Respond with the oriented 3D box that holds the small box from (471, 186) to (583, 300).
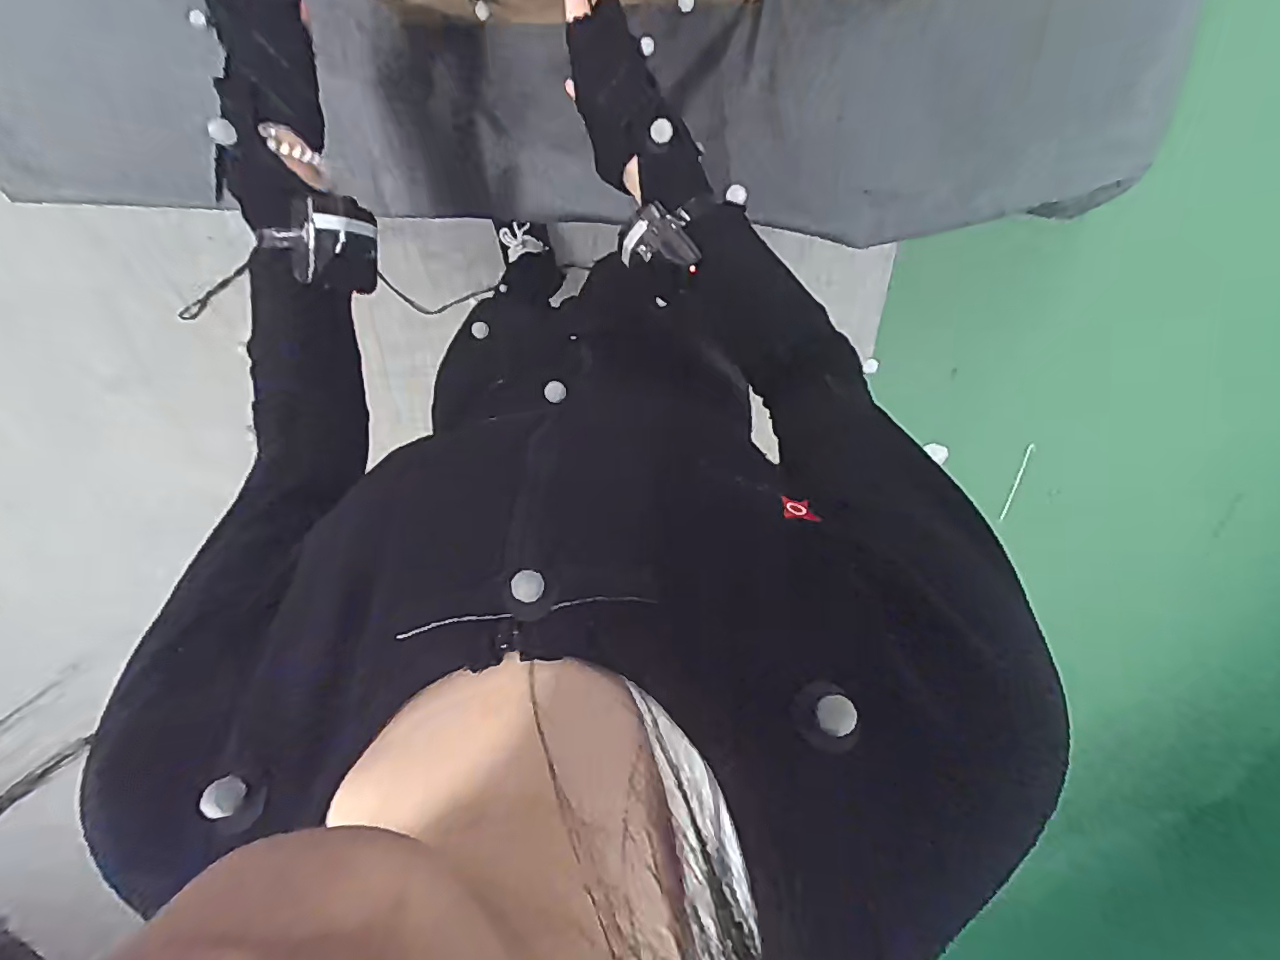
[{"bbox_3d":[-0.257,-0.533,1.213,0.179,0.176,0.168,31,123,-5],"label":"small box"}]
